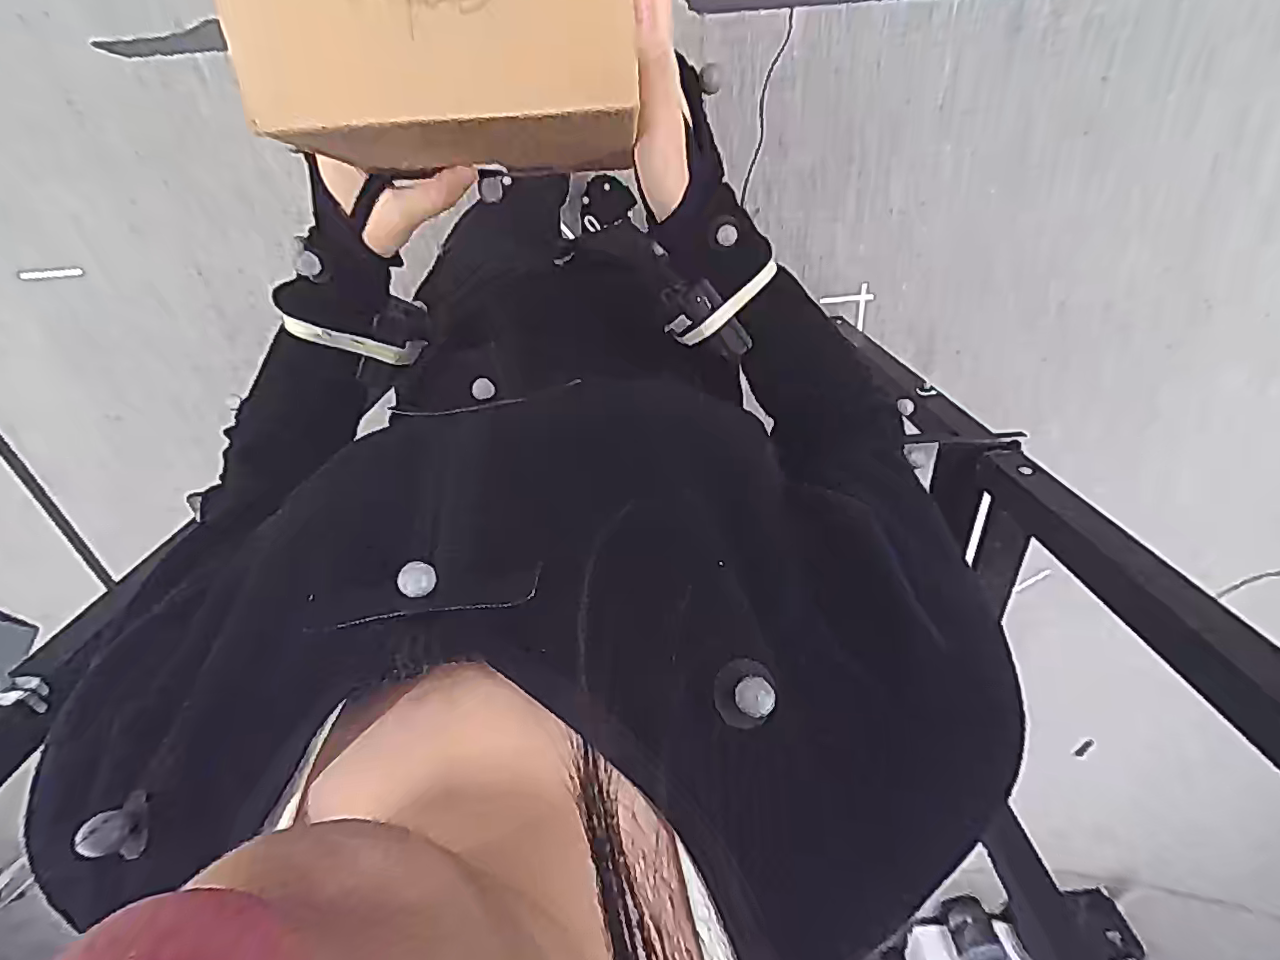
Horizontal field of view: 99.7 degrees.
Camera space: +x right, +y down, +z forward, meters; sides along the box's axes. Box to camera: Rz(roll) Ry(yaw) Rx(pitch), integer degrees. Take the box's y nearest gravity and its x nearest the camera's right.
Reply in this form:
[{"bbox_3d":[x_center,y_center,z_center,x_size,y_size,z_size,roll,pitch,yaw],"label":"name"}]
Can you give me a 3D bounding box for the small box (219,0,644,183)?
[{"bbox_3d":[-0.087,-0.261,0.269,0.168,0.176,0.179,-3,112,0],"label":"small box"}]
